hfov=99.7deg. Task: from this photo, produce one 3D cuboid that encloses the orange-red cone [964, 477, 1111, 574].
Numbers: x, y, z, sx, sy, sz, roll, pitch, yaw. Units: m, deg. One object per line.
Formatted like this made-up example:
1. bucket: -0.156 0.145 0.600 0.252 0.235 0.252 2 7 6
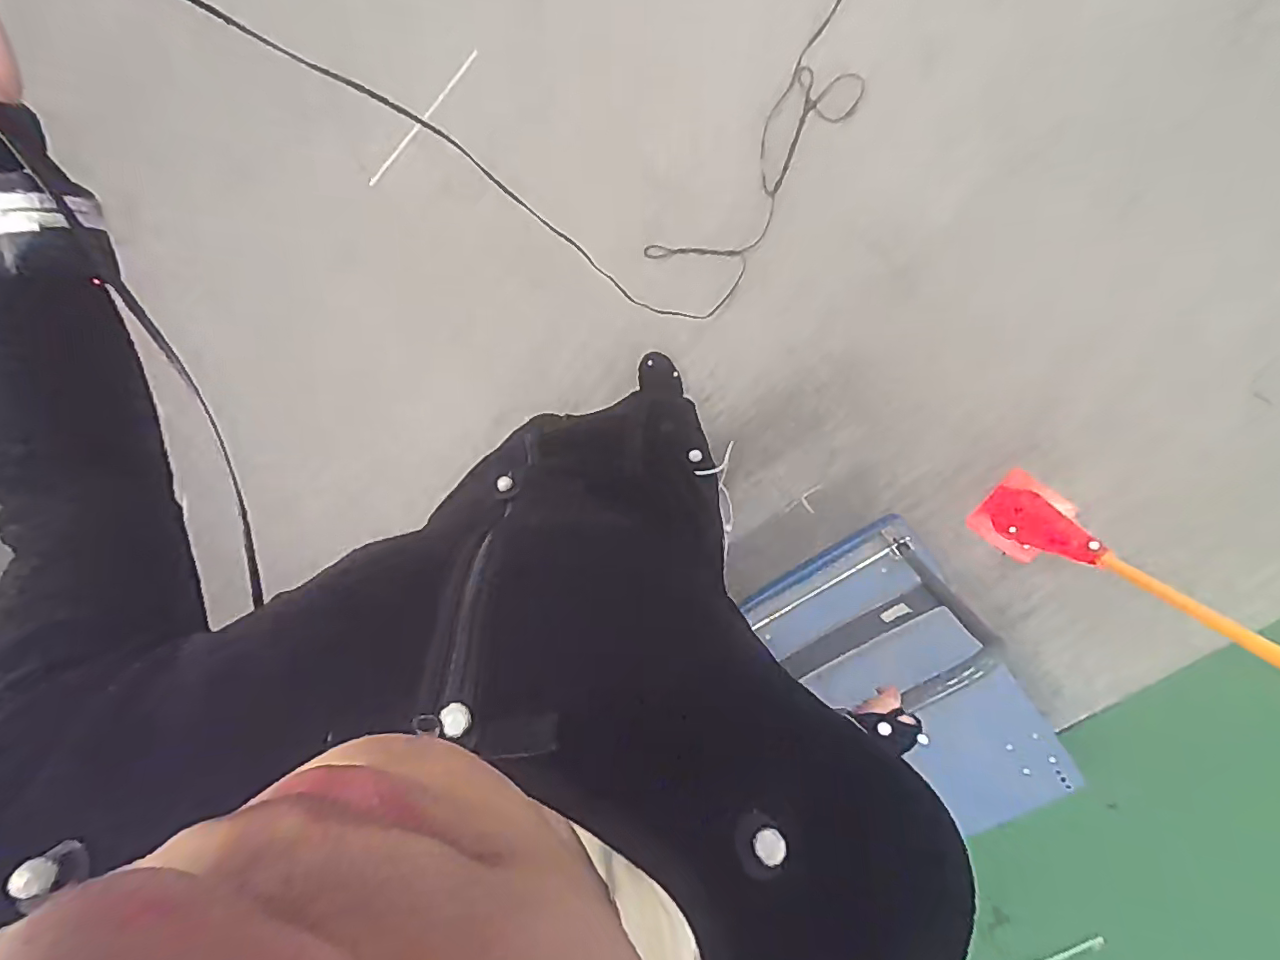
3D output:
1. orange-red cone: 0.987 0.144 1.294 0.198 0.360 0.199 36 103 1
